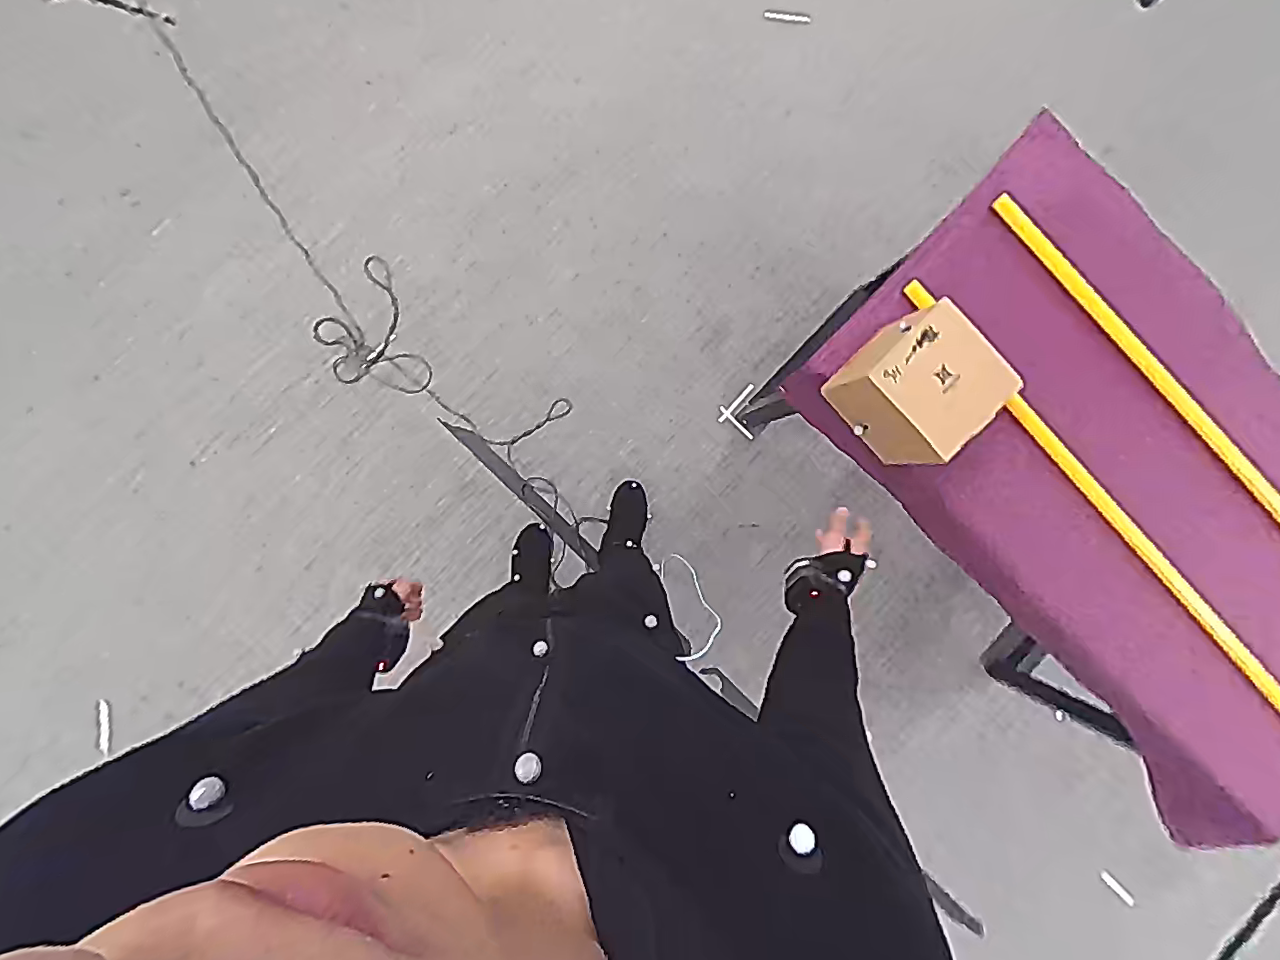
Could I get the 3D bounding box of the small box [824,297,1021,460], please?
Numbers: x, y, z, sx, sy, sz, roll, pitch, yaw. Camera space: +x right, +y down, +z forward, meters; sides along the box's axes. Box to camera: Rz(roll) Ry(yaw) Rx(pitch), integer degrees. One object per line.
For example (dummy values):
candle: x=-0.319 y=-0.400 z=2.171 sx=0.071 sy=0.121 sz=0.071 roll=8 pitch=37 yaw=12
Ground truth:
small box: x=0.431 y=-0.150 z=0.851 sx=0.168 sy=0.176 sz=0.179 roll=-44 pitch=95 yaw=-2
